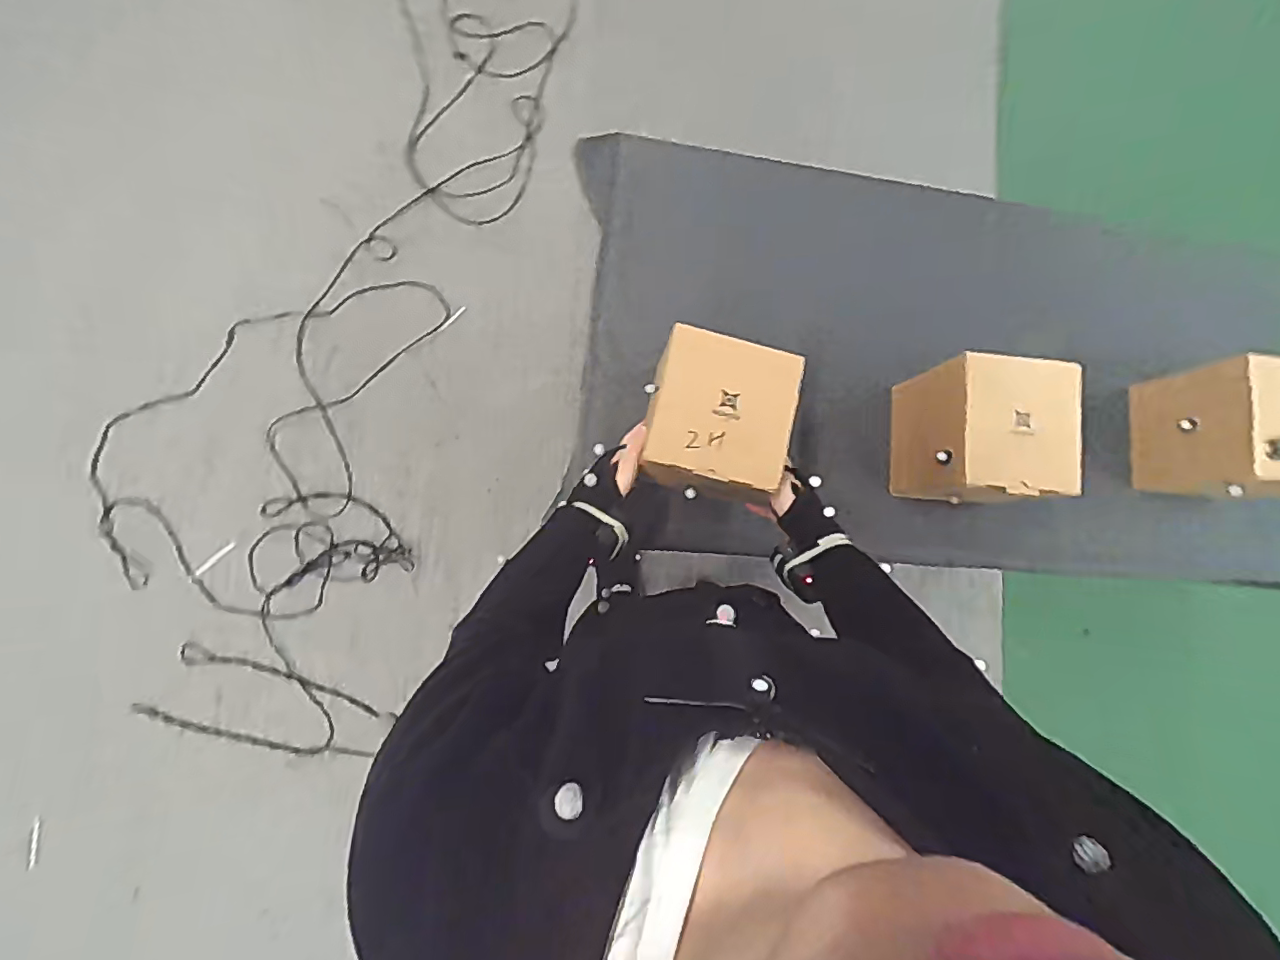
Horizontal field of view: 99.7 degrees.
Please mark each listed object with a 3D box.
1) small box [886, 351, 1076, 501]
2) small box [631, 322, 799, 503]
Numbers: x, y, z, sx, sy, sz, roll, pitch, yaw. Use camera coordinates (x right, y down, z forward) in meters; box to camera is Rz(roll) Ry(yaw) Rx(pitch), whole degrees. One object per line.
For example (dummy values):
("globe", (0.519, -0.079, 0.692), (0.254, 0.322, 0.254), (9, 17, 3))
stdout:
("small box", (0.475, -0.067, 0.775), (0.168, 0.176, 0.179), (4, 85, -7))
("small box", (0.089, -0.077, 0.720), (0.168, 0.176, 0.179), (15, 81, -4))
